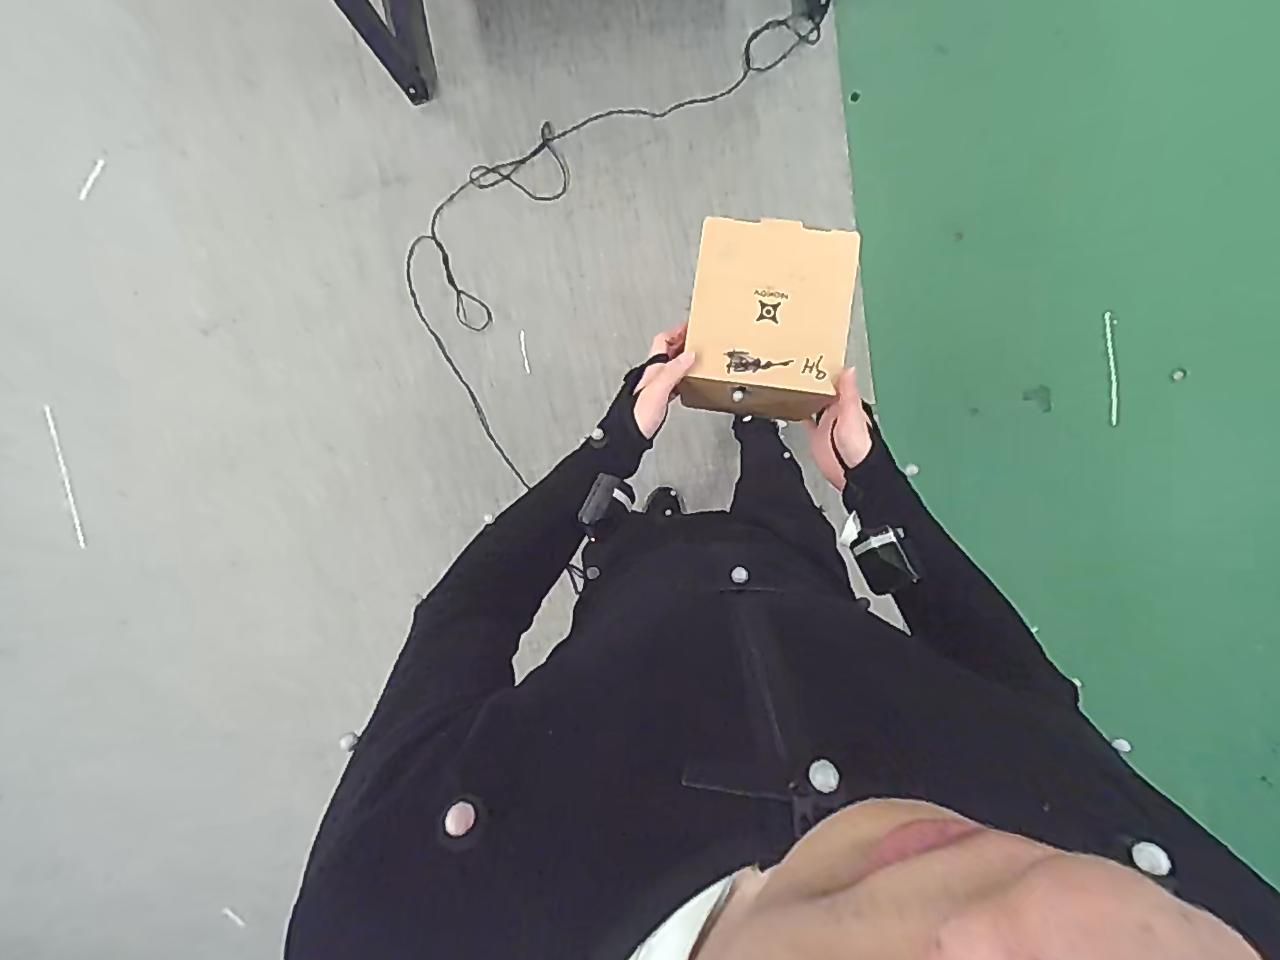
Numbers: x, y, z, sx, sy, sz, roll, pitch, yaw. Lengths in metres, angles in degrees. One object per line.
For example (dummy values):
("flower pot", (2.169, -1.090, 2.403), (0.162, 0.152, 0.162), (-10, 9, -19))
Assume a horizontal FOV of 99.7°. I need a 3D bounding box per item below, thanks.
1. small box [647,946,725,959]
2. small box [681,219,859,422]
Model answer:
("small box", (0.100, 1.080, 1.071), (0.168, 0.176, 0.179), (-5, 96, 2))
("small box", (0.142, -0.178, 0.648), (0.168, 0.176, 0.179), (9, 88, 4))
